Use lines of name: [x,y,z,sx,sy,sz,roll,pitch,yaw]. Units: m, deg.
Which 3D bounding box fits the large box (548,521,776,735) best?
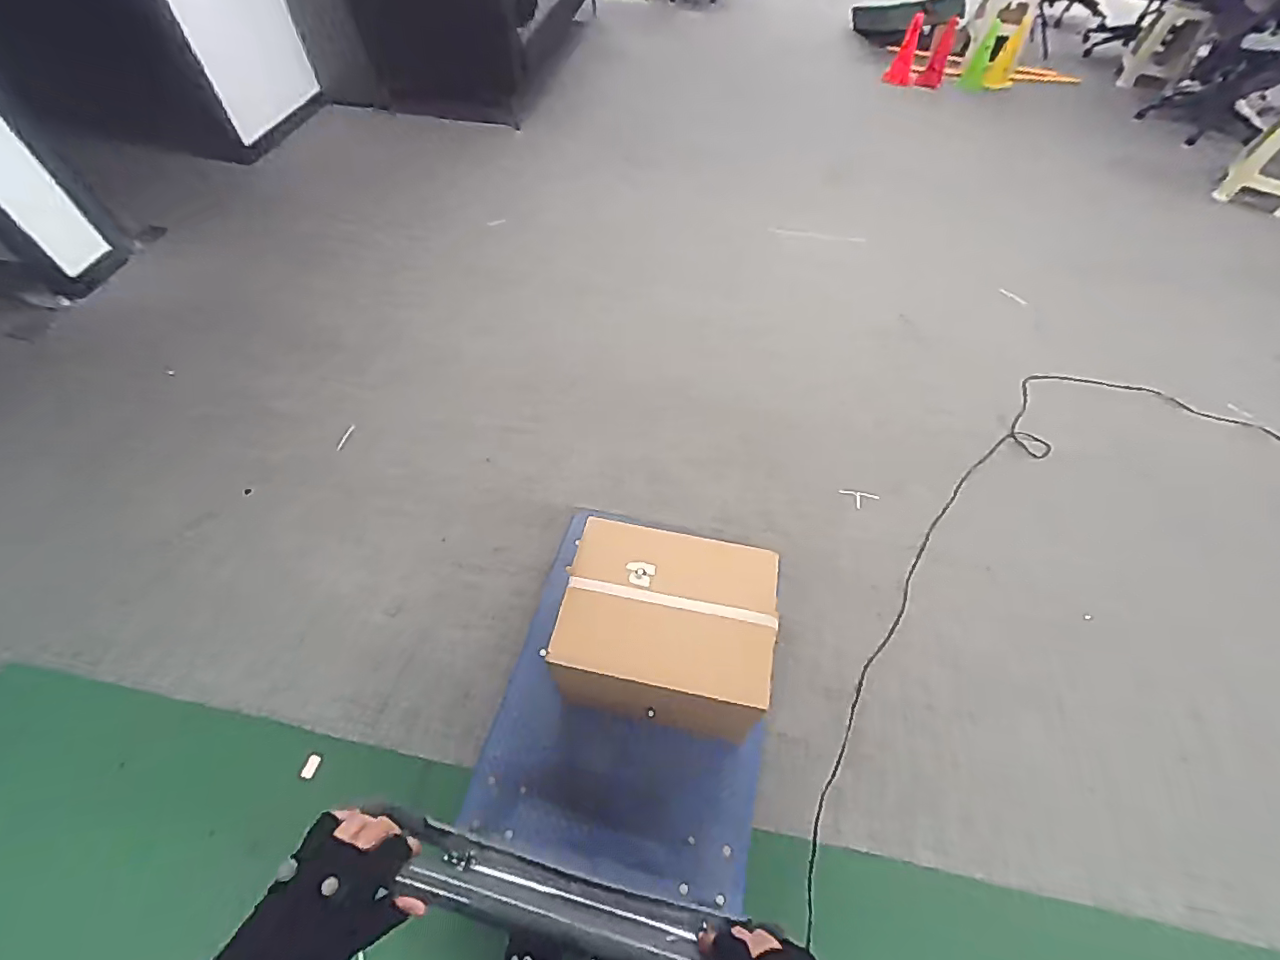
large box: [0.058,0.325,1.163,0.408,0.320,0.320,10,55,7]
